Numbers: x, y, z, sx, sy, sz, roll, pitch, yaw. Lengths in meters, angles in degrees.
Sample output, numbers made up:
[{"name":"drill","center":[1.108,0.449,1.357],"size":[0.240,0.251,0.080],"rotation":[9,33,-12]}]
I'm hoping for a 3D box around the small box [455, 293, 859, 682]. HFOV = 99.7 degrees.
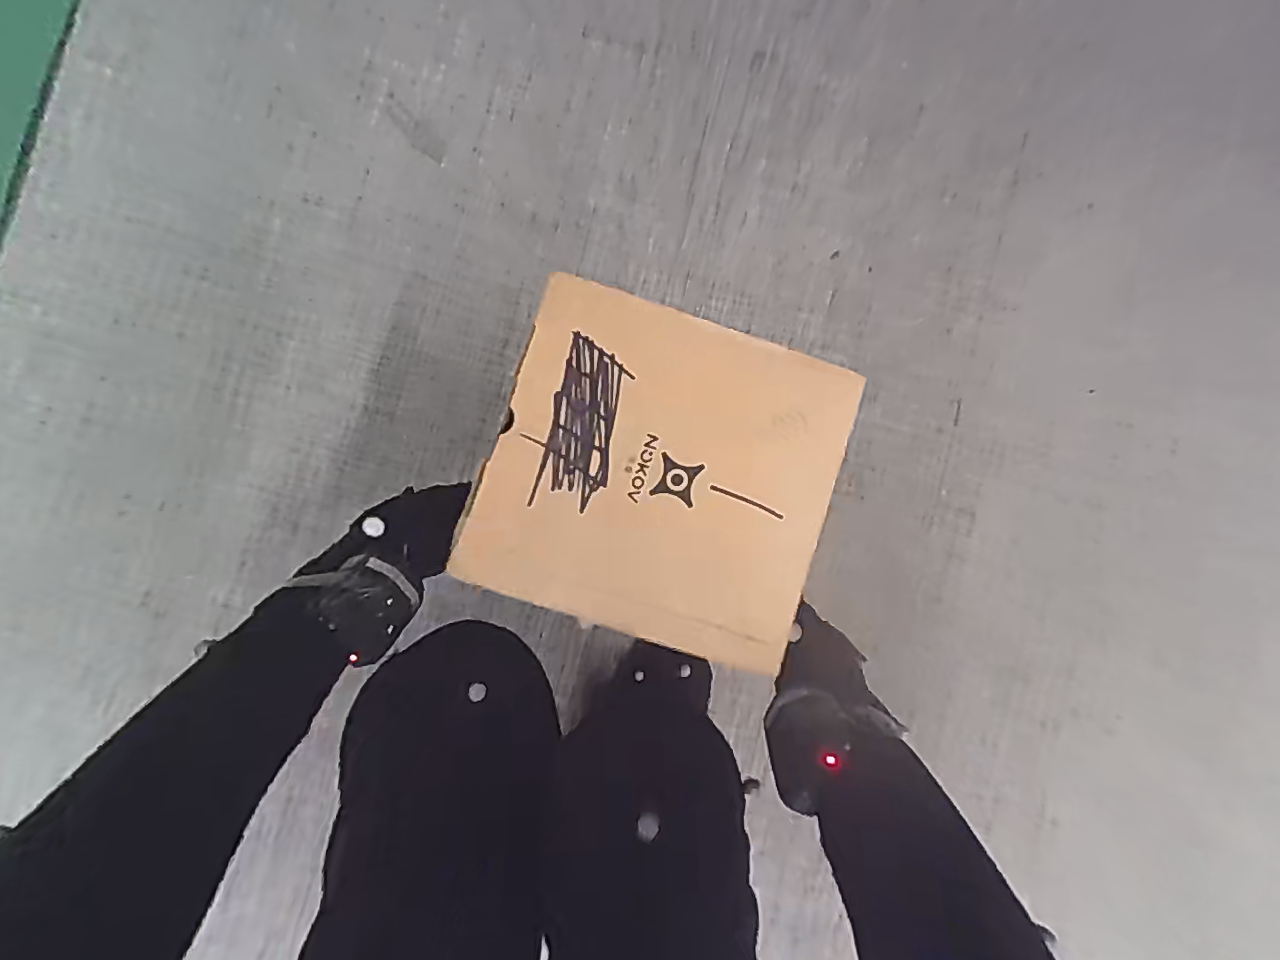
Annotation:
[{"name":"small box","center":[0.008,0.008,0.361],"size":[0.179,0.176,0.168],"rotation":[18,86,-2]}]
